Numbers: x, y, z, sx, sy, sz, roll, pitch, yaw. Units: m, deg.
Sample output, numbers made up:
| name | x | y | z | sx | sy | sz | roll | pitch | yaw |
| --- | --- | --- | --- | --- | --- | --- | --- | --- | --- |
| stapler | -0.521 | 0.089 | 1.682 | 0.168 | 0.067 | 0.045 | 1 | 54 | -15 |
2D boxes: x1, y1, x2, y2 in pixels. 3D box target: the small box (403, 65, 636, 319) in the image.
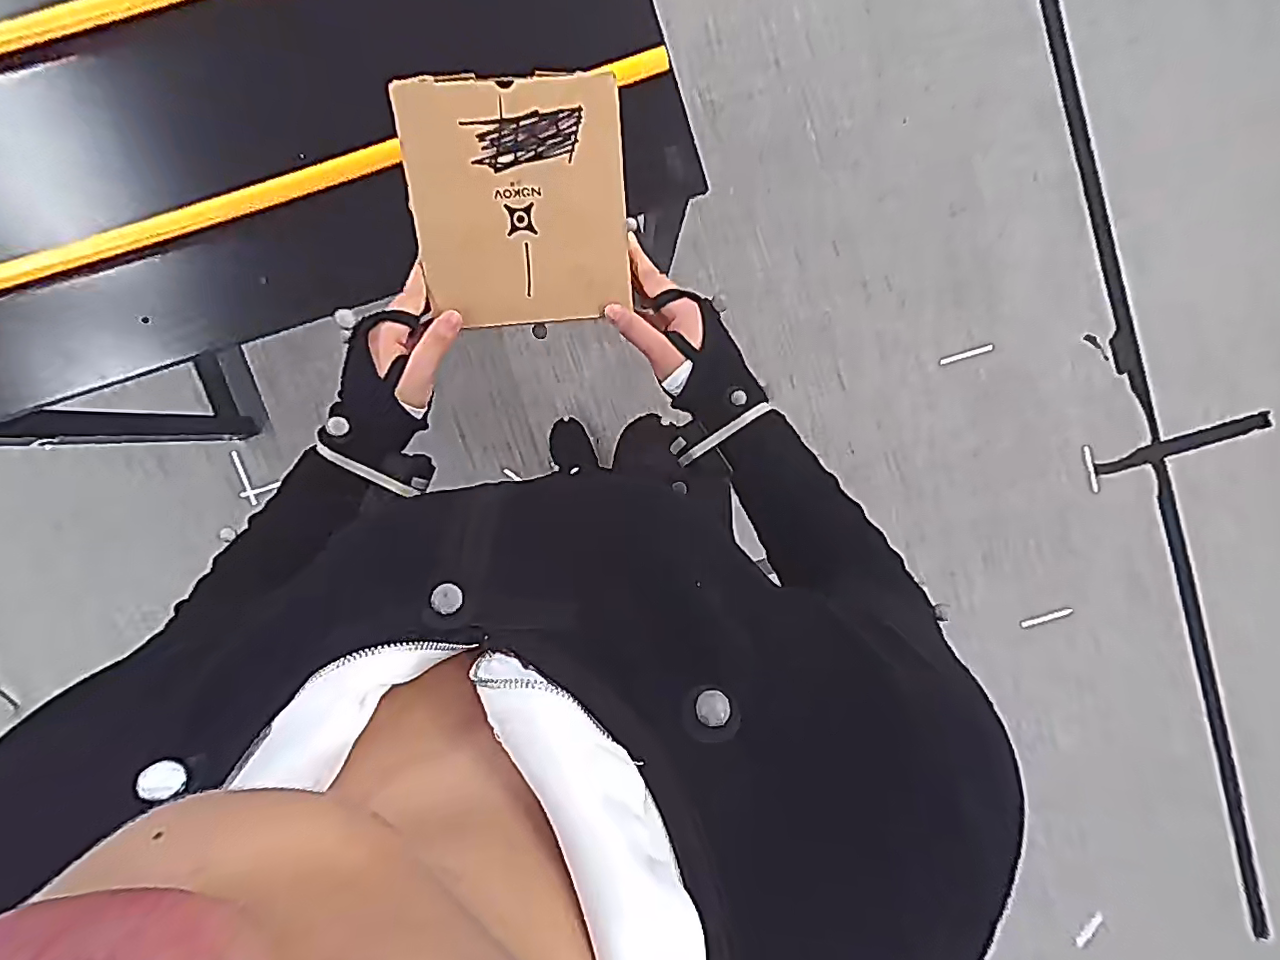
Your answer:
| name | x | y | z | sx | sy | sz | roll | pitch | yaw |
| --- | --- | --- | --- | --- | --- | --- | --- | --- | --- |
| small box | -0.098 | -0.245 | 0.501 | 0.168 | 0.176 | 0.179 | -6 | 107 | -4 |
